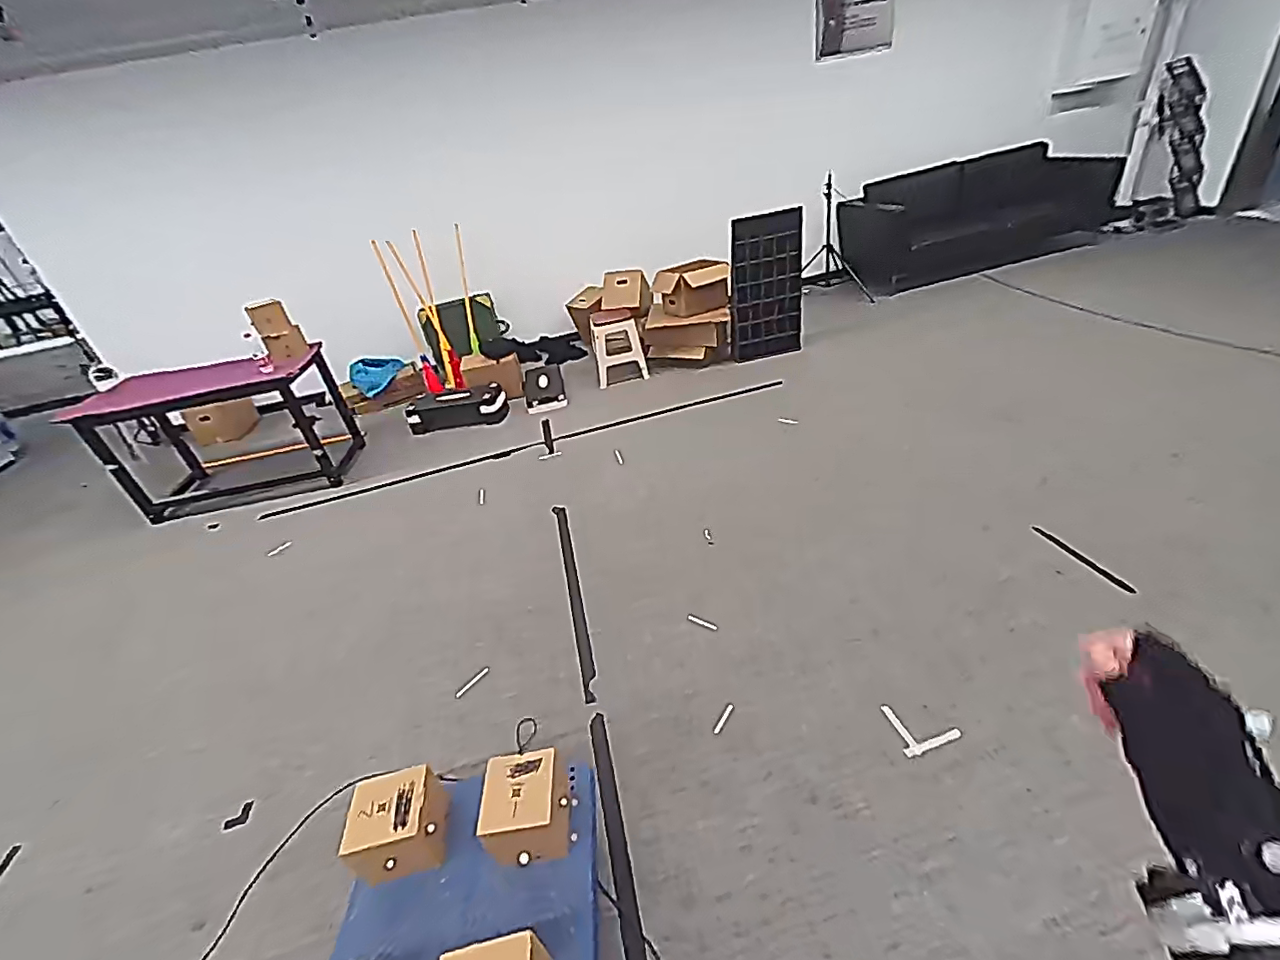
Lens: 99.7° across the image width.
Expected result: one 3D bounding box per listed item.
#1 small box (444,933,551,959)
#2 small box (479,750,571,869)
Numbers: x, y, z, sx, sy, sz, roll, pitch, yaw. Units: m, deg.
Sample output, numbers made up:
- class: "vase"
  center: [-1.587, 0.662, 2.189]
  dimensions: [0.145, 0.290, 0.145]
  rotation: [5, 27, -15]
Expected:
- class: "small box"
  center: [-0.254, 0.972, 0.977]
  dimensions: [0.179, 0.176, 0.168]
  rotation: [-13, 33, -4]
- class: "small box"
  center: [-0.263, 0.777, 1.278]
  dimensions: [0.168, 0.176, 0.179]
  rotation: [-10, 34, 2]
